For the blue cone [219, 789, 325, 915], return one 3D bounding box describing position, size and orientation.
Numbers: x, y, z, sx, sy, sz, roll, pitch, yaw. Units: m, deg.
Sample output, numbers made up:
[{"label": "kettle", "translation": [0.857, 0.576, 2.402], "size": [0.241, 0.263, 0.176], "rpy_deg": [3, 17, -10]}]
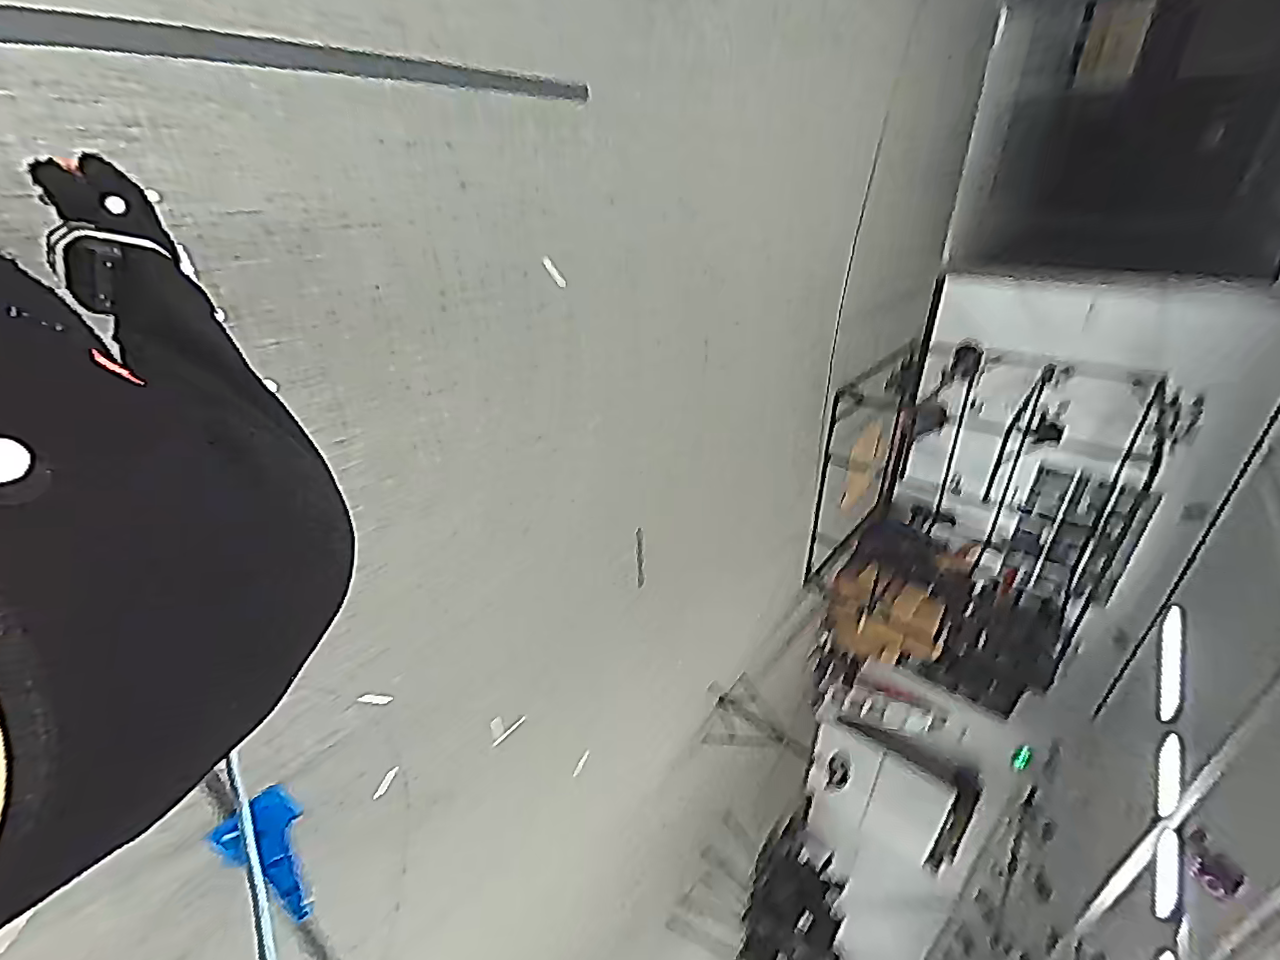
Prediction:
[{"label": "blue cone", "translation": [-1.015, 1.100, 1.546], "size": [0.192, 0.380, 0.193], "rpy_deg": [-35, 134, -40]}]
